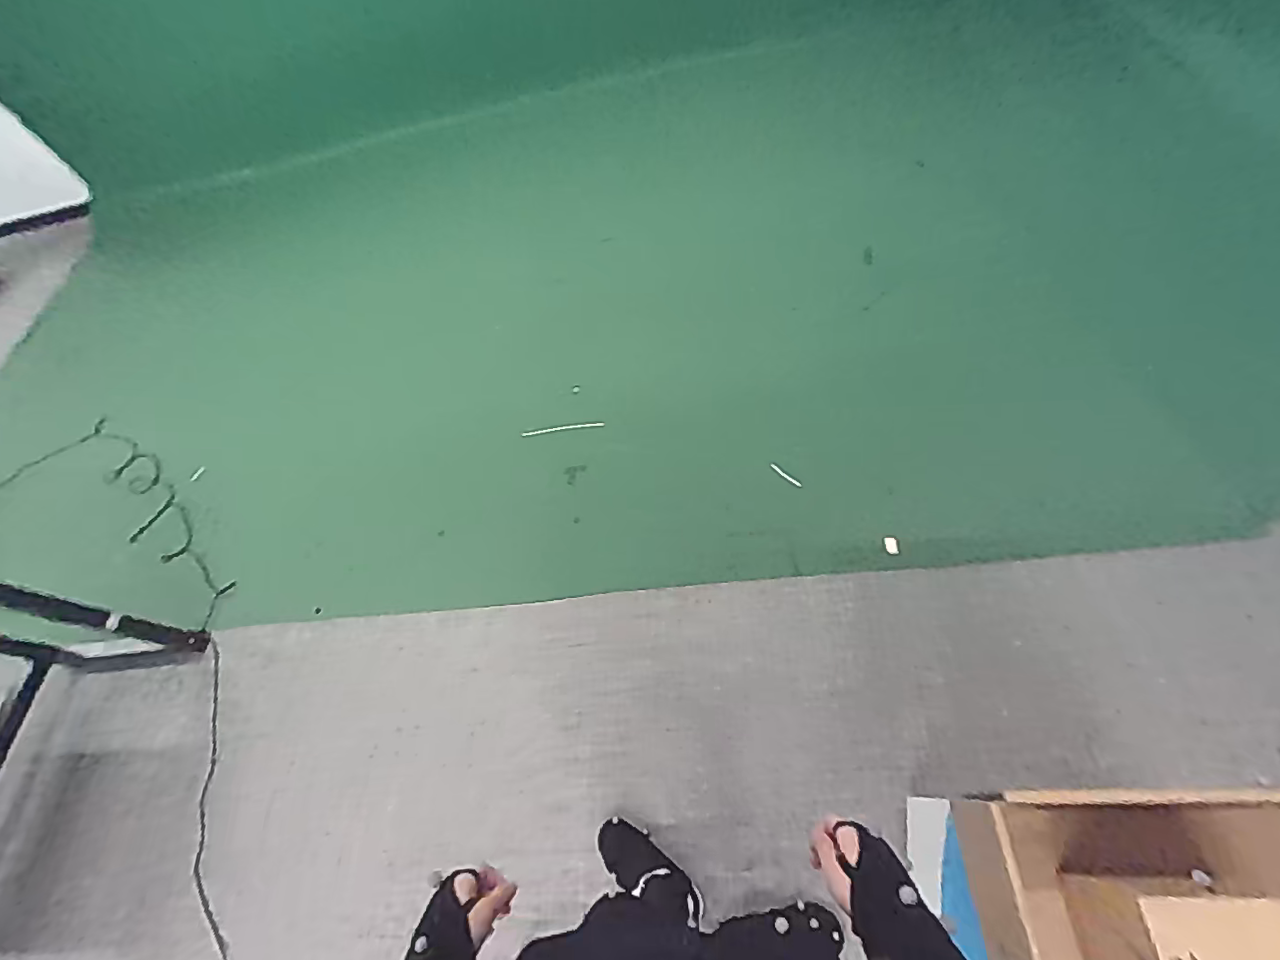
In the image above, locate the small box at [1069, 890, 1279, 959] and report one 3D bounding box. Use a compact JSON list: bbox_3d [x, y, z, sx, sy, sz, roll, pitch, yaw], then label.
[{"bbox_3d":[0.595,0.528,0.545,0.179,0.176,0.168,-5,59,8],"label":"small box"}]
